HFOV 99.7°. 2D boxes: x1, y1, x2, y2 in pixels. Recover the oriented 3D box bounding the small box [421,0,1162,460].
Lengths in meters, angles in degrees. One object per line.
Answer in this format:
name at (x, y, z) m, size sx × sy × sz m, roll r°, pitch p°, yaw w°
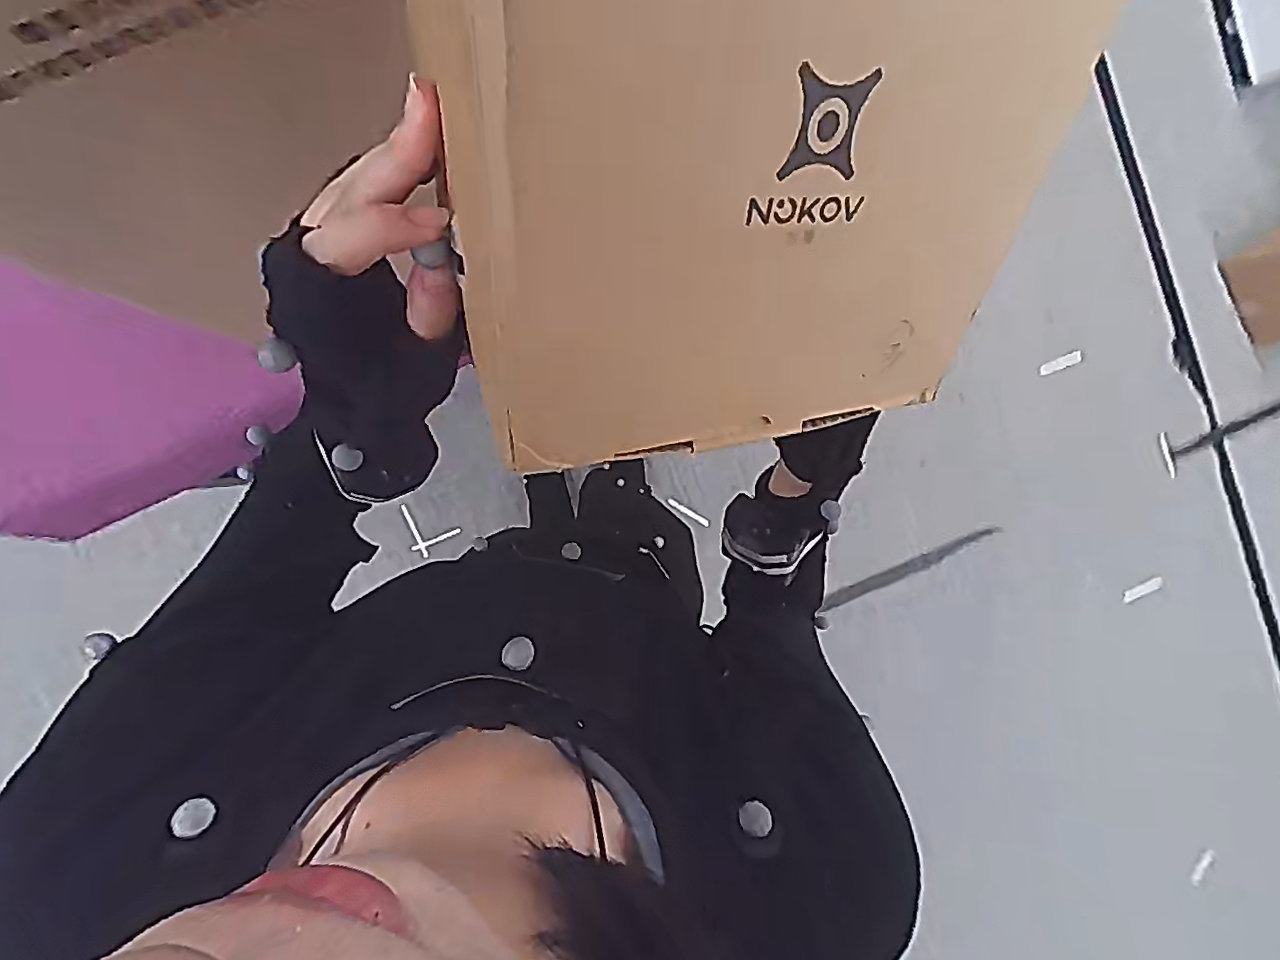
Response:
small box at (0.020, -0.133, 0.184) m, size 0.168 × 0.176 × 0.179 m, roll -10°, pitch 131°, yaw -19°
